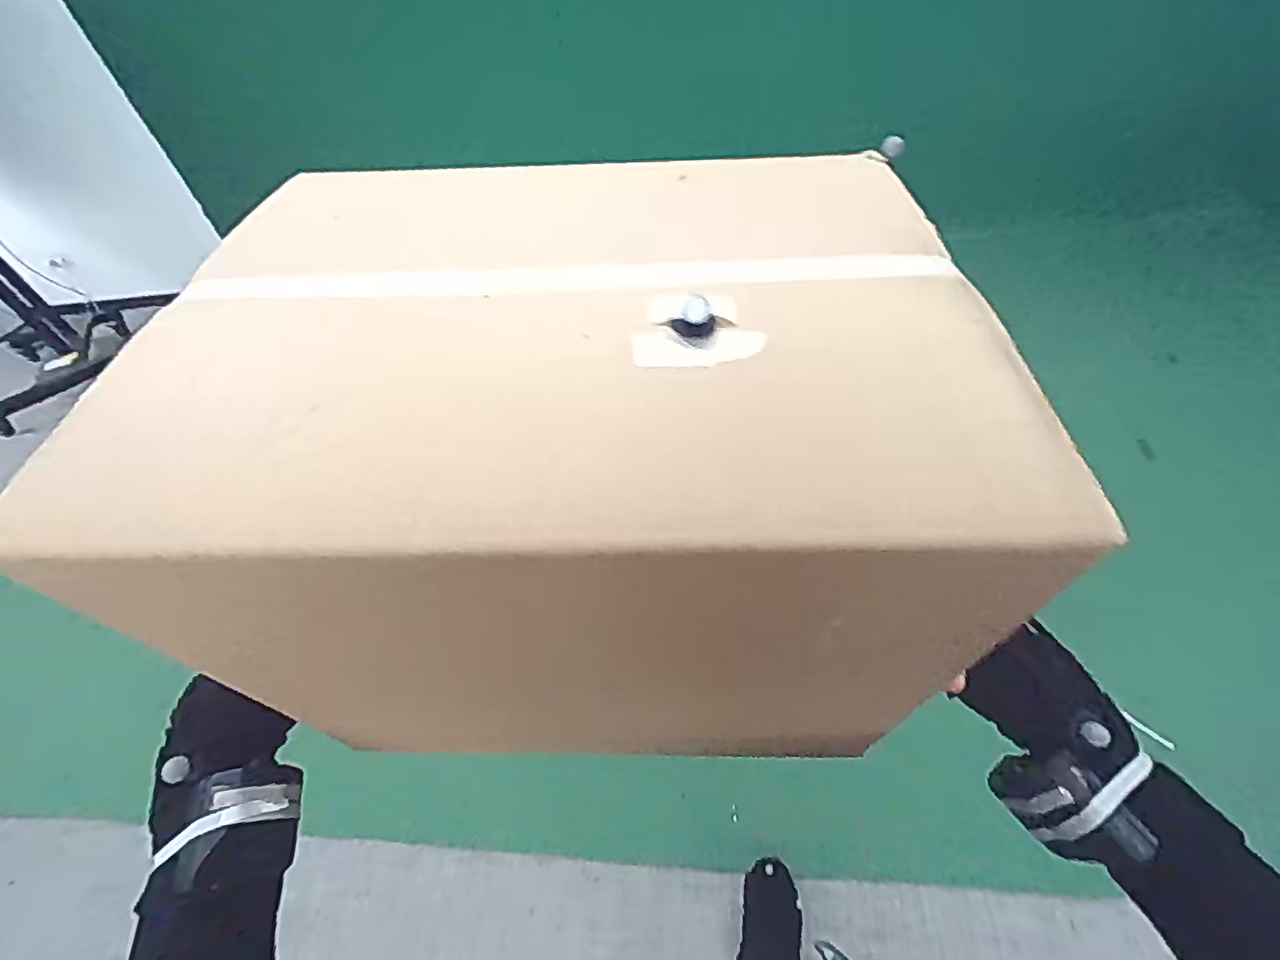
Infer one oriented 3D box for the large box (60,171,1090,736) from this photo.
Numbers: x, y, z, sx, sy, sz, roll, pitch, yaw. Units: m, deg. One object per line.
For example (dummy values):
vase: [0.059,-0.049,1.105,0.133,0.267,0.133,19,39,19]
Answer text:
large box: [-0.025,-0.007,0.412,0.408,0.320,0.320,0,53,2]
